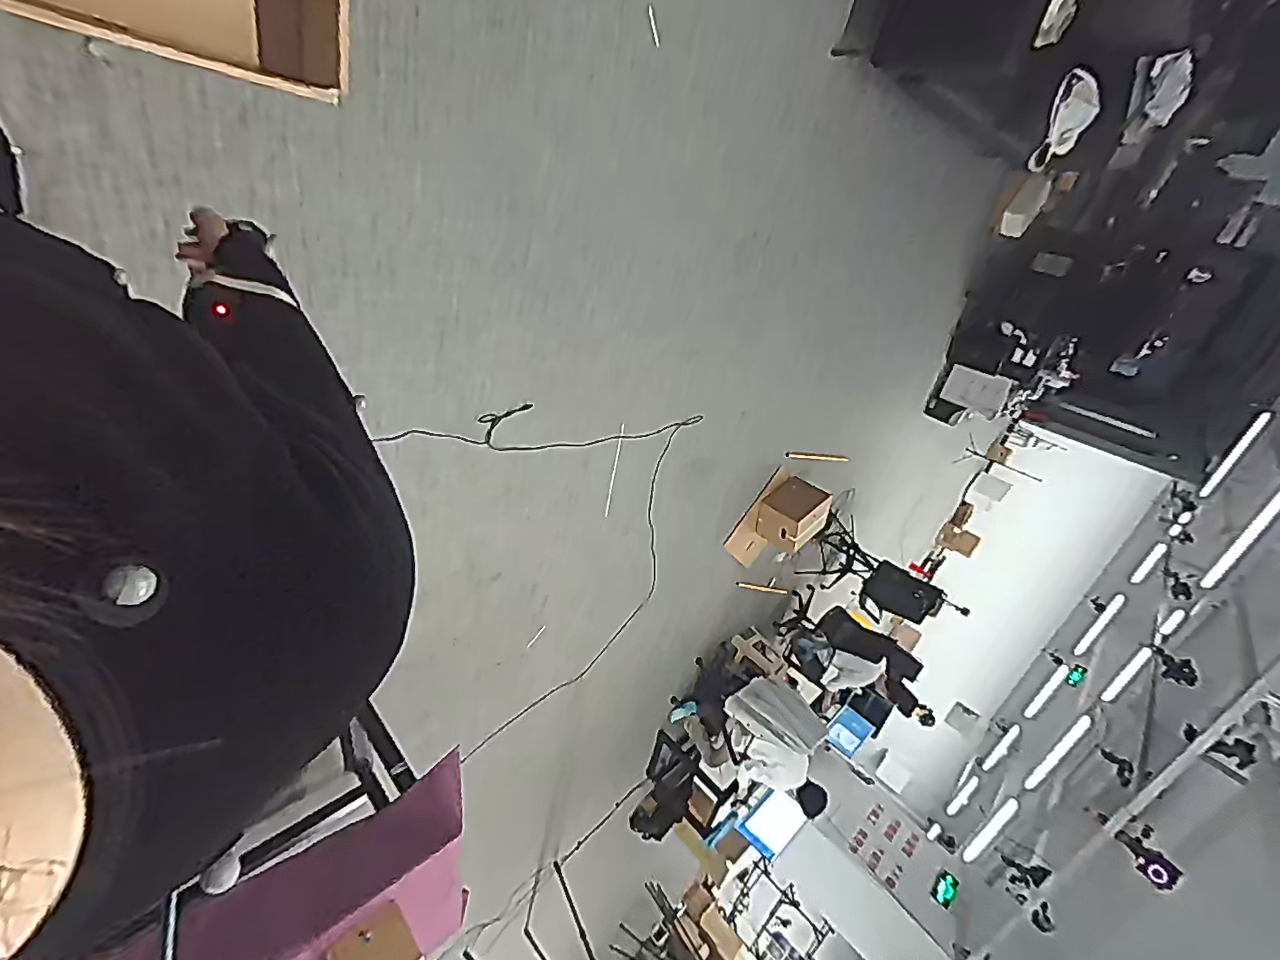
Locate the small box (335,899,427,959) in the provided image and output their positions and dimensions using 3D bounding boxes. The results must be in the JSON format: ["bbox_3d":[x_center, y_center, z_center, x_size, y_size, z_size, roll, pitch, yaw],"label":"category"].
[{"bbox_3d":[-0.666,1.245,1.387,0.179,0.176,0.168,-16,130,-41],"label":"small box"}]
